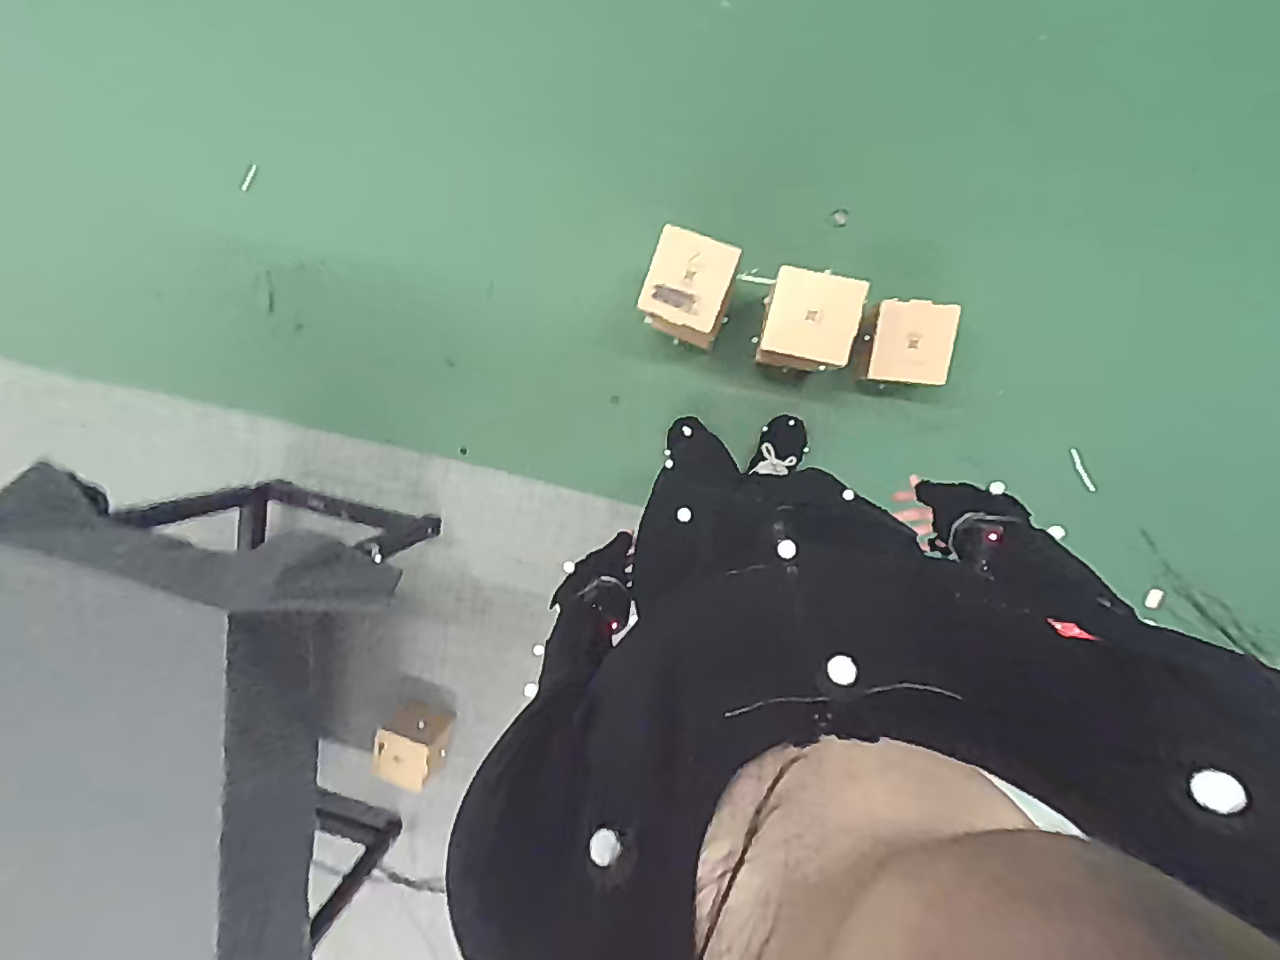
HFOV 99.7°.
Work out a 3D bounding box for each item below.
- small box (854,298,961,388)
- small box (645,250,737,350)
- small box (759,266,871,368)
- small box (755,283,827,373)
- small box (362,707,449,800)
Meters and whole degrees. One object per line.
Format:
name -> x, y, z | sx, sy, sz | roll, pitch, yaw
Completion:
small box -> 0.615, -0.315, 1.267 | 0.168, 0.176, 0.179 | 8, 100, 8
small box -> 0.128, -0.432, 1.328 | 0.168, 0.176, 0.179 | 24, 103, 6
small box -> 0.356, -0.334, 1.138 | 0.179, 0.176, 0.168 | 14, 101, 6
small box -> 0.374, -0.357, 1.299 | 0.168, 0.176, 0.179 | 11, 100, 7
small box -> -0.717, 0.836, 1.672 | 0.179, 0.176, 0.168 | 17, 101, 6
